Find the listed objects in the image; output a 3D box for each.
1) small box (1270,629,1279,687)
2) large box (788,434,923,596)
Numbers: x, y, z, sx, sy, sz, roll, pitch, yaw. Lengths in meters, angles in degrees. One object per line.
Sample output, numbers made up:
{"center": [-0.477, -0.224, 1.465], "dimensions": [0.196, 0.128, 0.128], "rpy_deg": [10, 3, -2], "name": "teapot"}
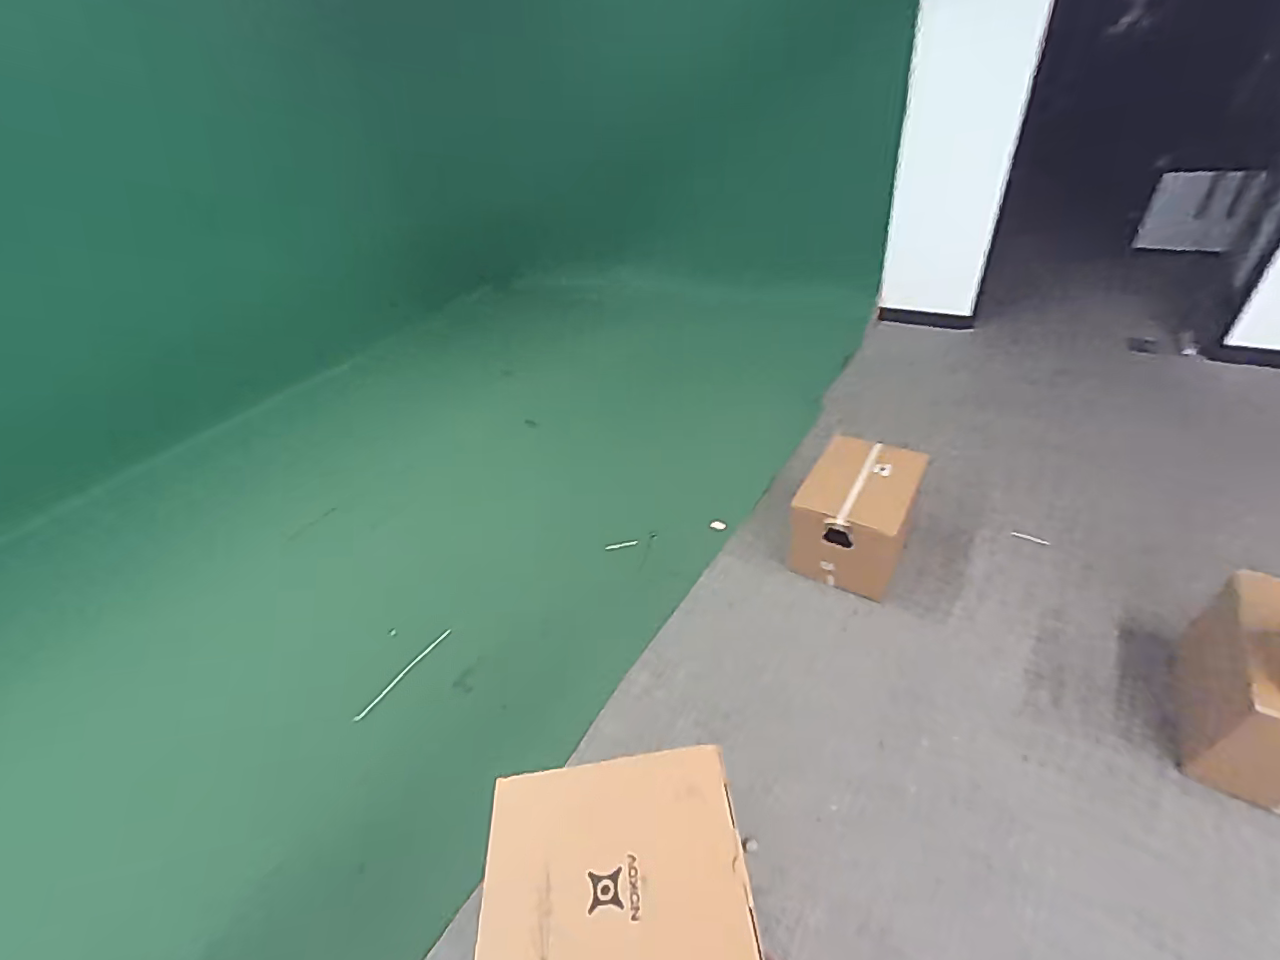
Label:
{"center": [1.373, 0.336, 1.024], "dimensions": [0.179, 0.176, 0.168], "rpy_deg": [16, 48, 30], "name": "small box"}
{"center": [0.710, 0.108, 1.803], "dimensions": [0.320, 0.320, 0.408], "rpy_deg": [18, 47, 30], "name": "large box"}
